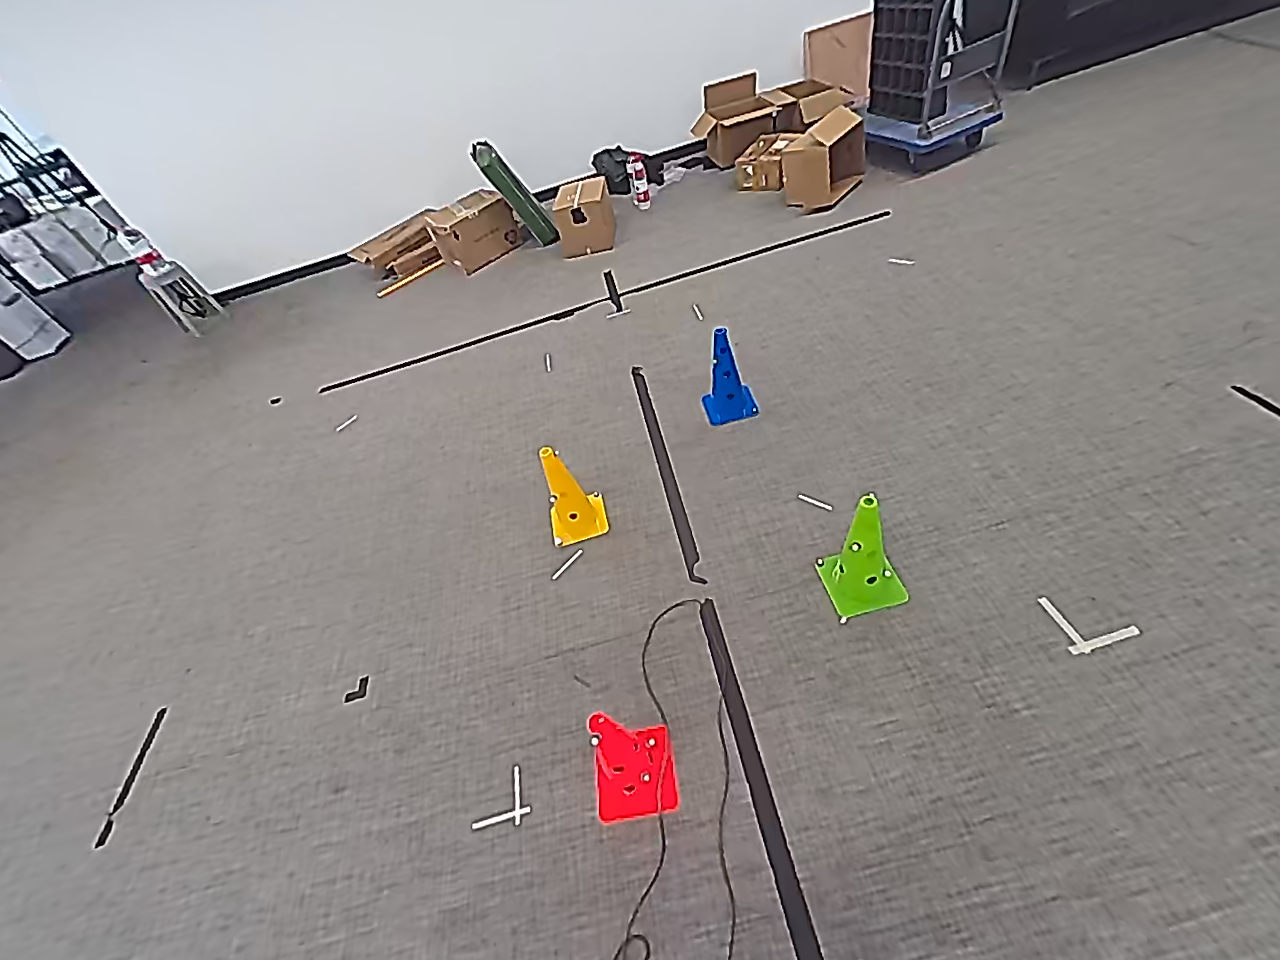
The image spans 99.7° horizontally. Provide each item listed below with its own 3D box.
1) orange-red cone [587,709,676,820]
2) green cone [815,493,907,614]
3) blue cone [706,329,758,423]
[{"bbox_3d":[-0.054,0.612,1.233,0.199,0.360,0.198,-14,44,6],"label":"orange-red cone"},{"bbox_3d":[0.599,0.171,1.441,0.202,0.368,0.200,-15,45,1],"label":"green cone"},{"bbox_3d":[0.338,-0.416,2.099,0.192,0.380,0.193,-13,46,4],"label":"blue cone"}]
